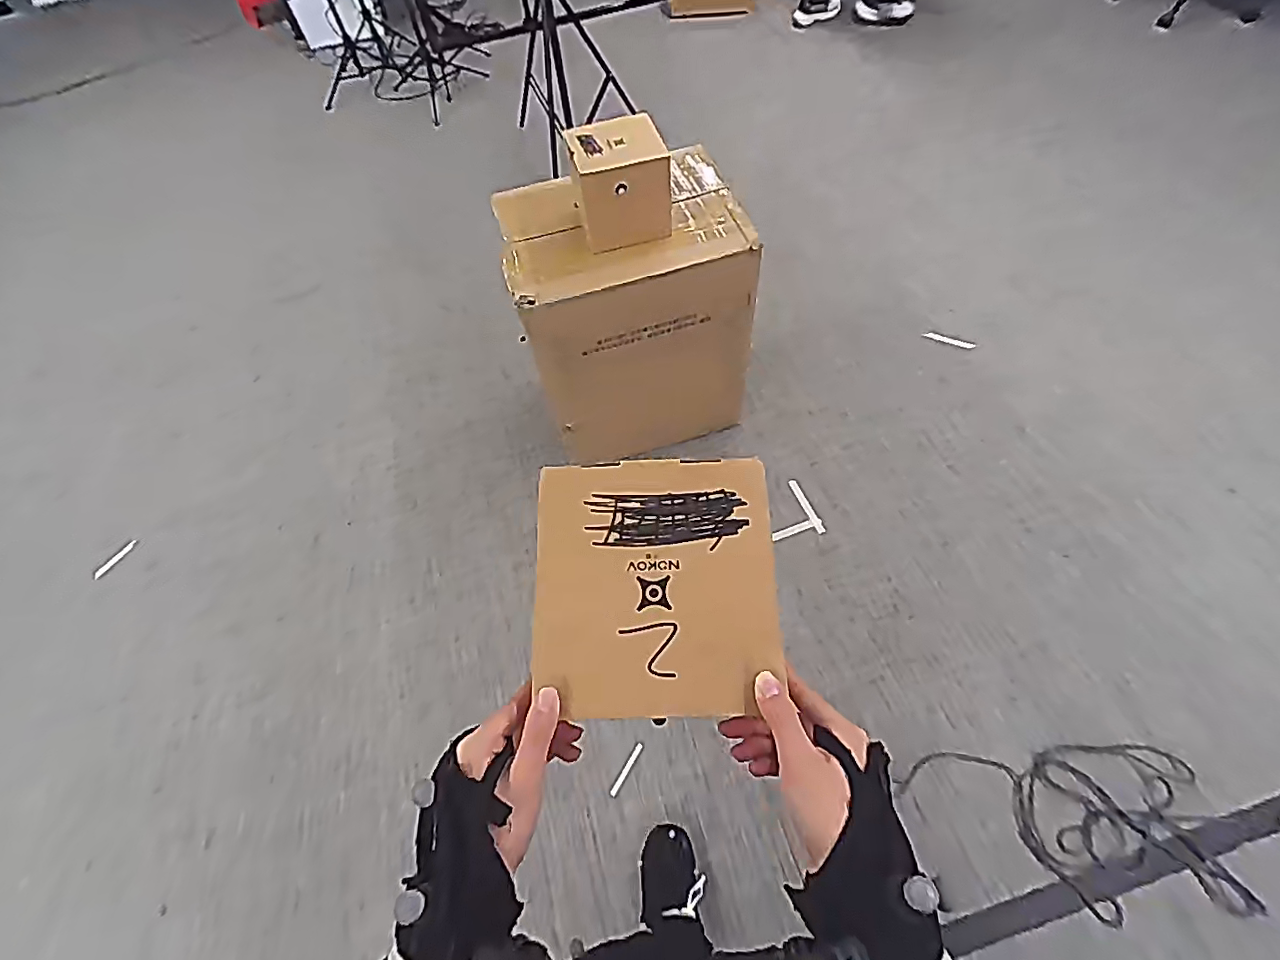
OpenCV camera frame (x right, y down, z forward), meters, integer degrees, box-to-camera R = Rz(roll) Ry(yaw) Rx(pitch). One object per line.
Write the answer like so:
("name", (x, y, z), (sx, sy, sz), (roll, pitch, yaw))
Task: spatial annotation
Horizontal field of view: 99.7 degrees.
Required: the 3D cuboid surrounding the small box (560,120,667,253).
("small box", (-0.050, -0.593, 1.104), (0.179, 0.176, 0.168), (-15, 60, -5))
